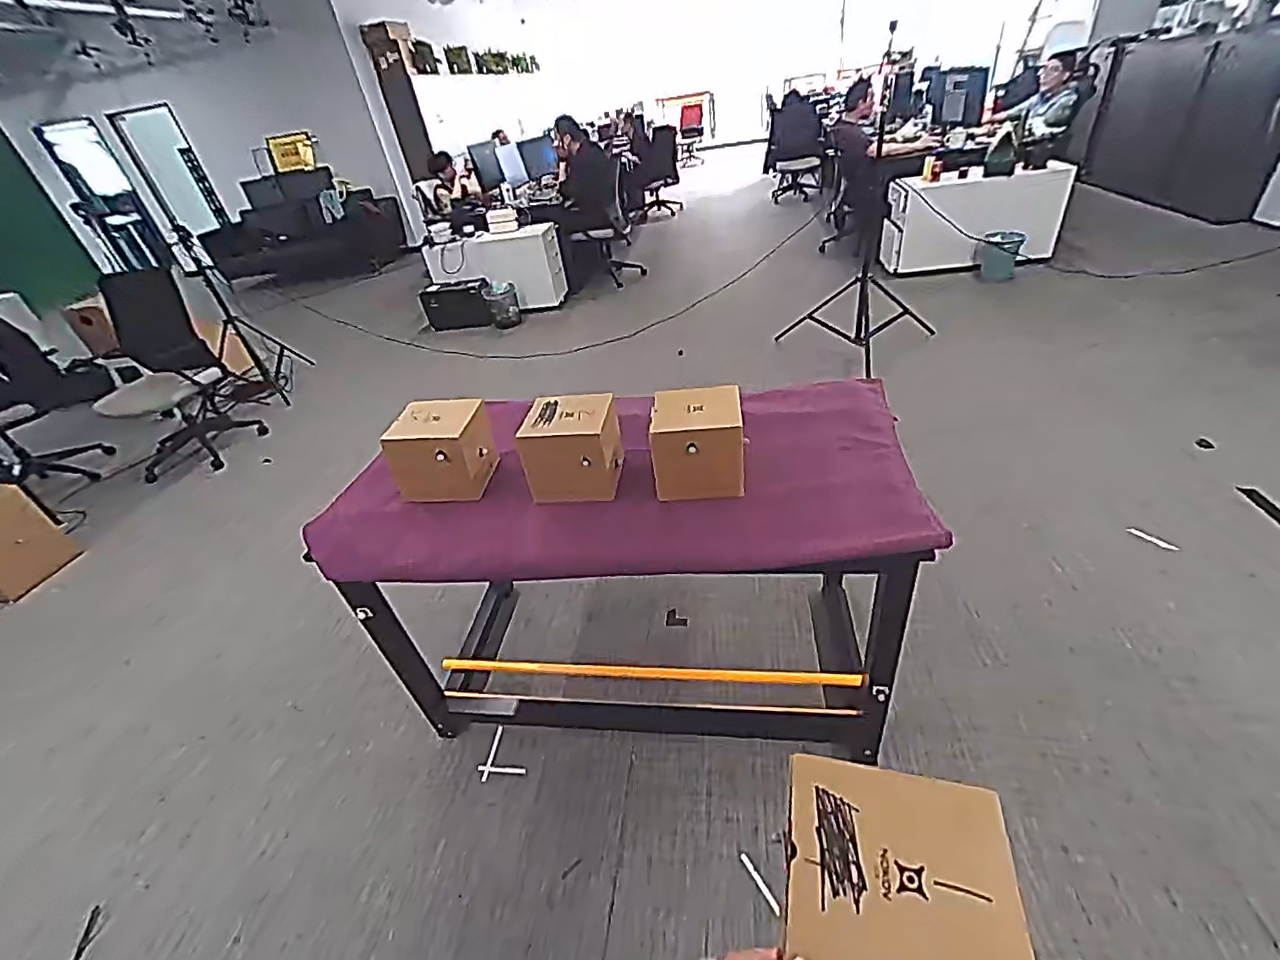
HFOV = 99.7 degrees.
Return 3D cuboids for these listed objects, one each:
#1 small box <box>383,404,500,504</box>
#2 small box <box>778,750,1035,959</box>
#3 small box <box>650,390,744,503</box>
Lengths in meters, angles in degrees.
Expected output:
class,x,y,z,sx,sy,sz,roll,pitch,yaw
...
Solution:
class,x,y,z,sx,sy,sz,roll,pitch,yaw
small box,-0.435,-0.058,1.223,0.179,0.176,0.168,-1,36,7
small box,0.219,0.377,0.488,0.179,0.176,0.168,4,41,15
small box,0.123,-0.068,1.113,0.179,0.176,0.168,-4,36,9
